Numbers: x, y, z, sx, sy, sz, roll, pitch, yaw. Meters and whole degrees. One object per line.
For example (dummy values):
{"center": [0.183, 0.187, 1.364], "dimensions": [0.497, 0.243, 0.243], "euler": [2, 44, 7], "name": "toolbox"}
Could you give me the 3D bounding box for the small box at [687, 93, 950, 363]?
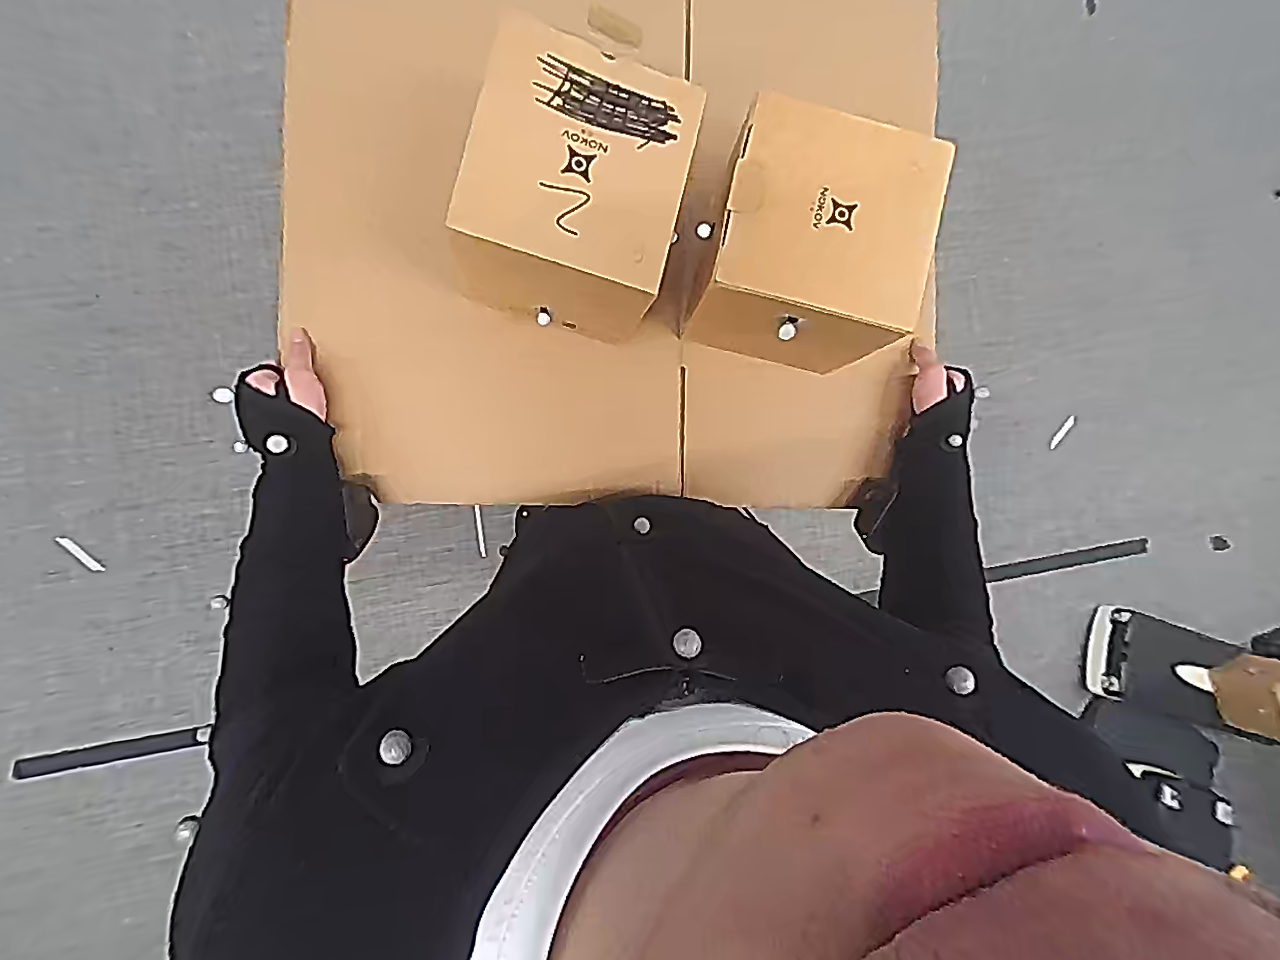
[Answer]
{"center": [0.158, -0.225, 0.535], "dimensions": [0.179, 0.176, 0.168], "euler": [13, 89, -3], "name": "small box"}
